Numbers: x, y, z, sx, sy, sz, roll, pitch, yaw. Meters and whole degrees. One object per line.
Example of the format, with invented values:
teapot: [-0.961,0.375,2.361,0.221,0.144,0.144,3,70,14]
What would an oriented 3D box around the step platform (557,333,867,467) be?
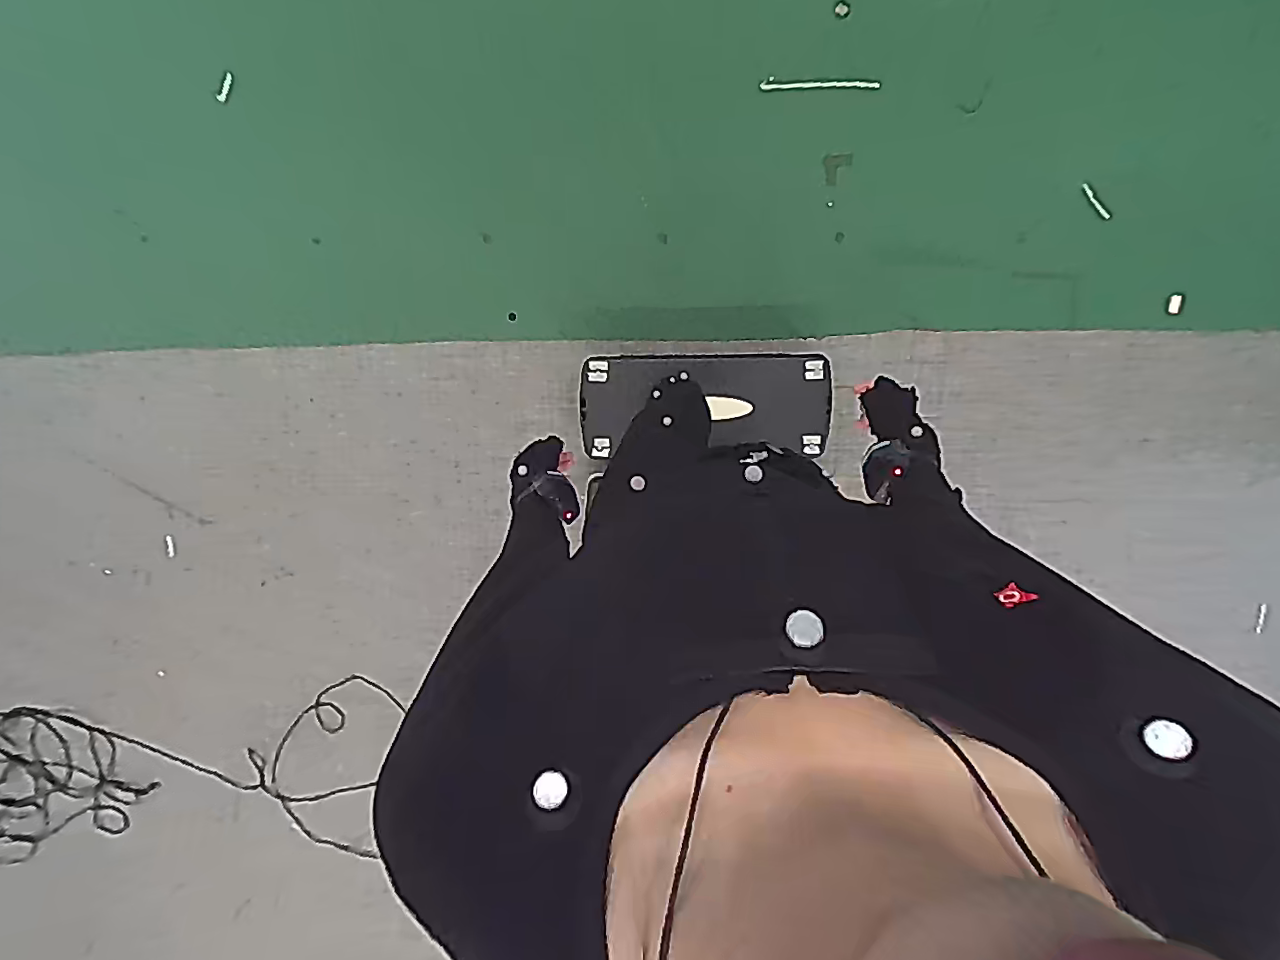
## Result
step platform: [0.159,-0.191,1.291,0.684,0.204,0.286,-1,101,2]
